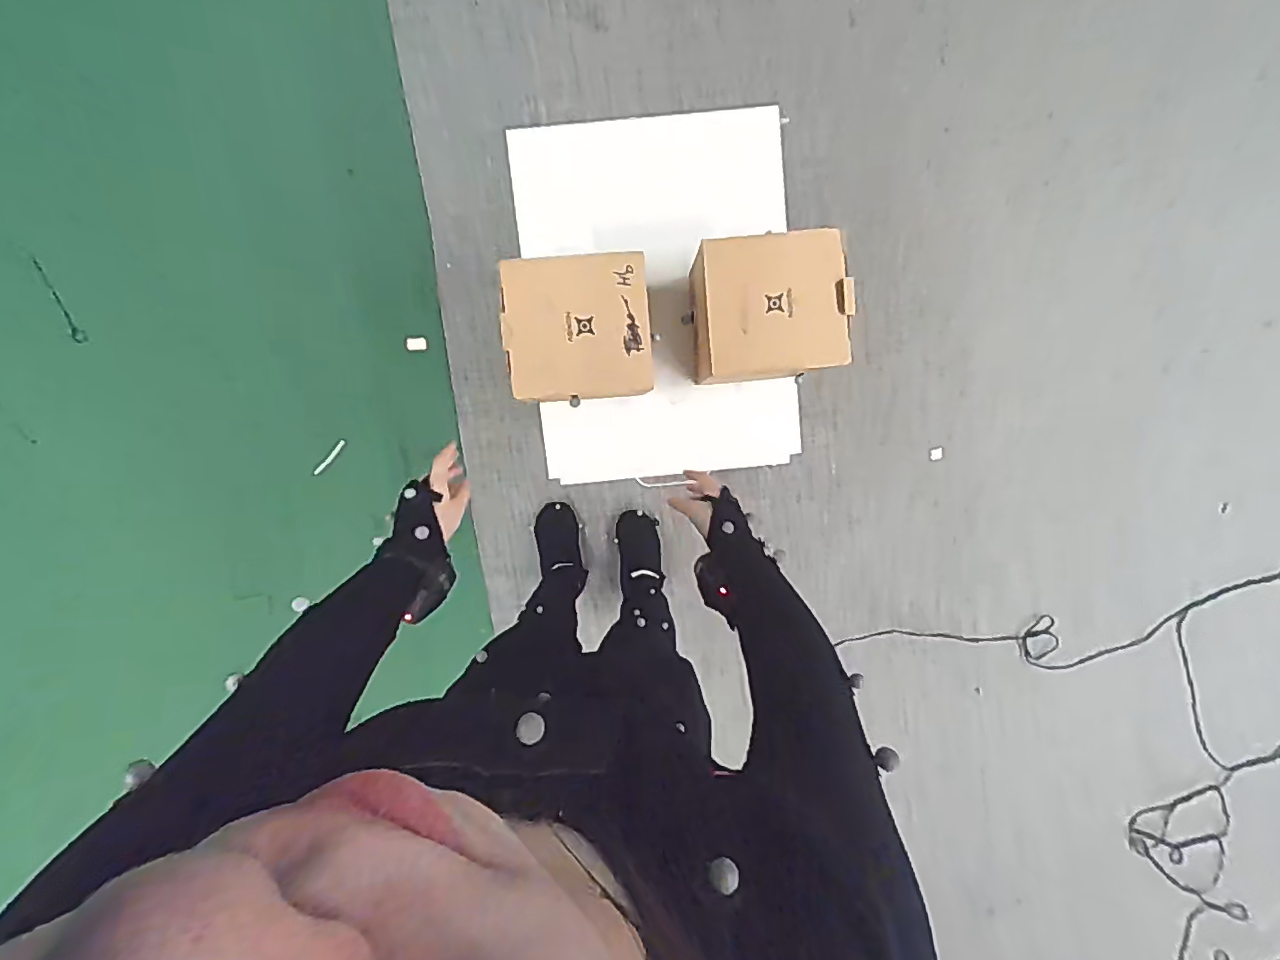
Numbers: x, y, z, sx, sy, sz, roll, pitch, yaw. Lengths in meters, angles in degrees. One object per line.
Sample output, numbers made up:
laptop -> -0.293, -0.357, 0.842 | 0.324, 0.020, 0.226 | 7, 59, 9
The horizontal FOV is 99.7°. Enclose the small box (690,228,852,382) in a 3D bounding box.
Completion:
small box -> 0.168, -0.226, 0.734 | 0.179, 0.176, 0.168 | -5, 97, 0

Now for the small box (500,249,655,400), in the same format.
small box -> -0.076, -0.196, 0.726 | 0.179, 0.176, 0.168 | -5, 98, -3
